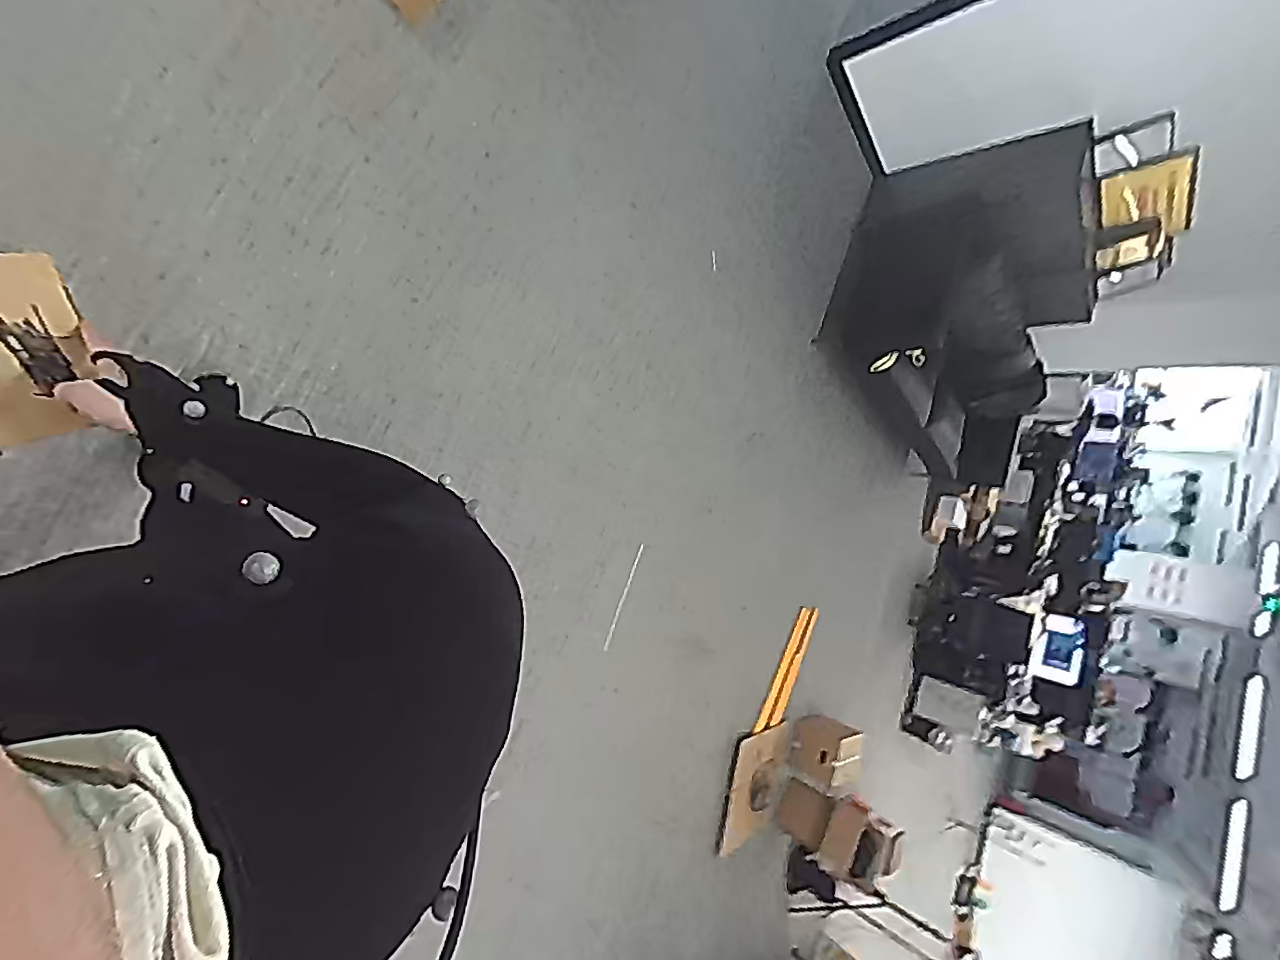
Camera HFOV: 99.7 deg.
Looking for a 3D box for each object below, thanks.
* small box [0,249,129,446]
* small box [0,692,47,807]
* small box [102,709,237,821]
[{"bbox_3d":[-0.647,-0.120,0.505,0.179,0.176,0.168,-34,125,-49],"label":"small box"},{"bbox_3d":[-1.250,0.498,0.989,0.179,0.176,0.168,32,75,-44],"label":"small box"},{"bbox_3d":[-1.054,0.631,1.213,0.179,0.176,0.168,30,76,-43],"label":"small box"}]
